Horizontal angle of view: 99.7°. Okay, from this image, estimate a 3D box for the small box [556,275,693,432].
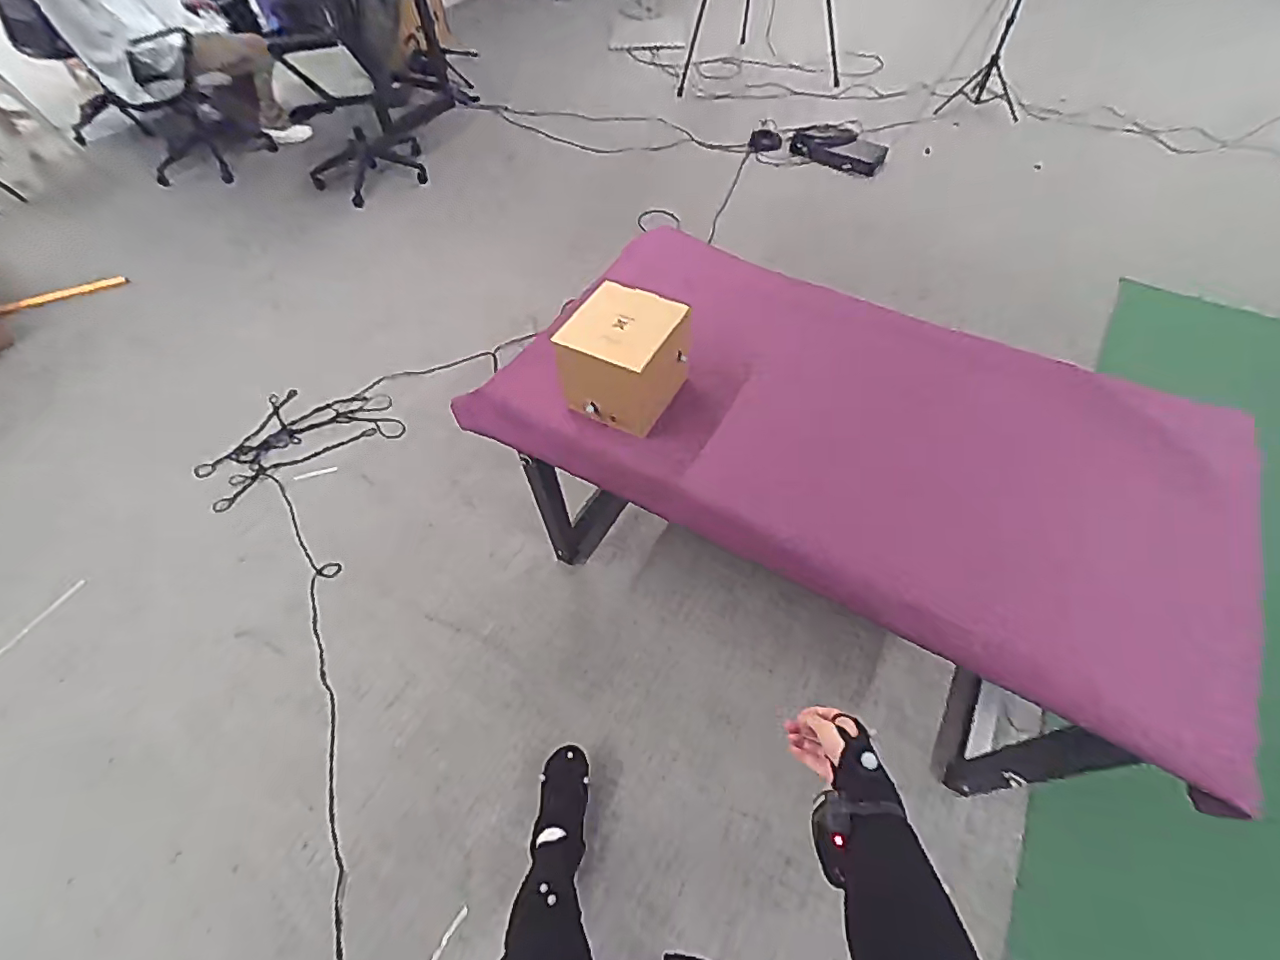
[{"bbox_3d":[-0.022,-0.218,0.943,0.168,0.176,0.179,24,60,18],"label":"small box"}]
